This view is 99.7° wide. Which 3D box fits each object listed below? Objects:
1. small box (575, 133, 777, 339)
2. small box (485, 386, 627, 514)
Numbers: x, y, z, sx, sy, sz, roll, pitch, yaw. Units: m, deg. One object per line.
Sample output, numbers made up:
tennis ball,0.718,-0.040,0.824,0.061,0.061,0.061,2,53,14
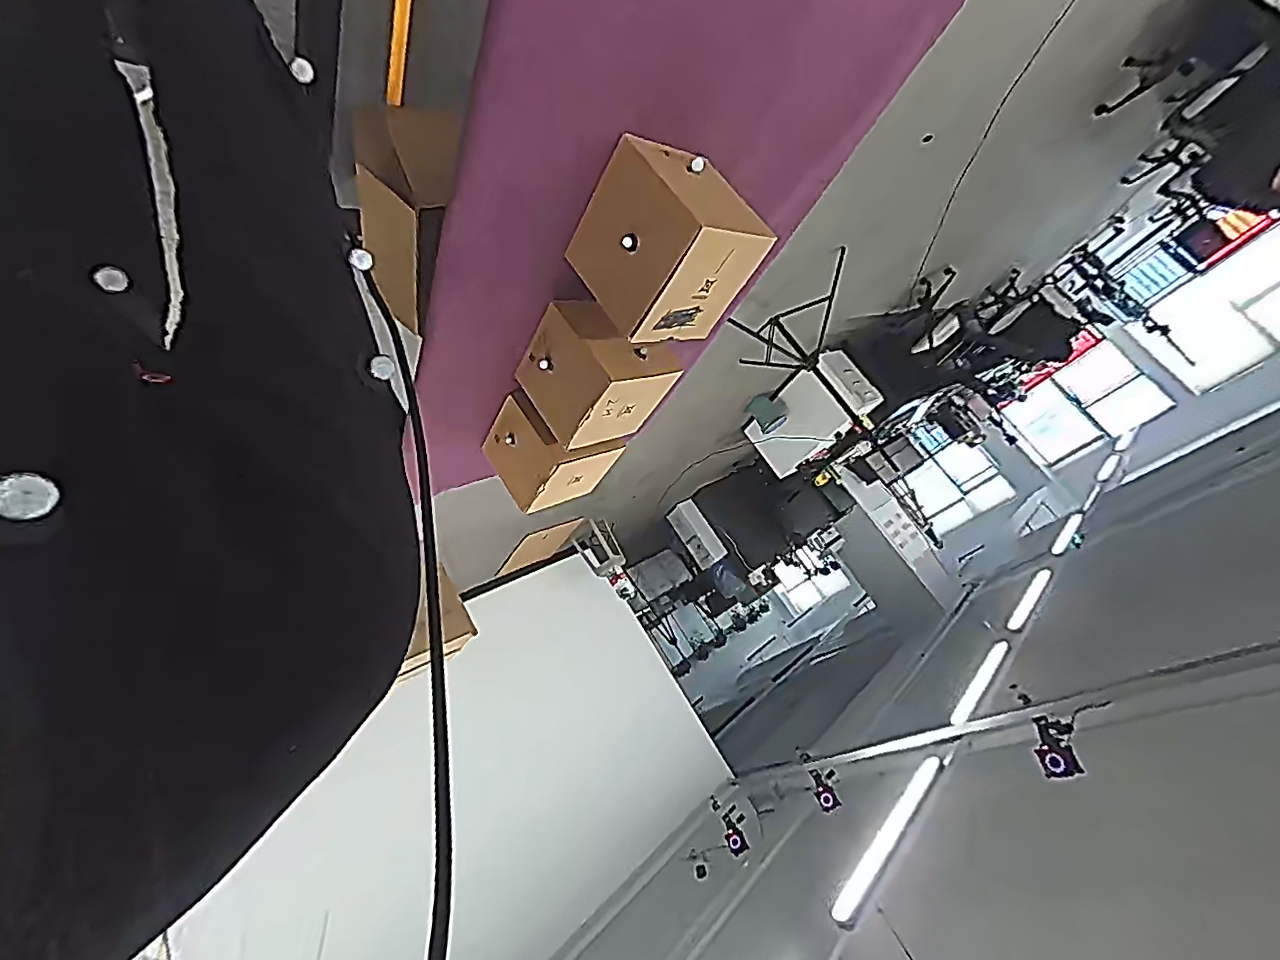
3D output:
small box,0.038,-0.311,0.718,0.168,0.176,0.179,-18,157,-44
small box,-0.166,-0.066,1.042,0.179,0.176,0.168,-19,158,-45
